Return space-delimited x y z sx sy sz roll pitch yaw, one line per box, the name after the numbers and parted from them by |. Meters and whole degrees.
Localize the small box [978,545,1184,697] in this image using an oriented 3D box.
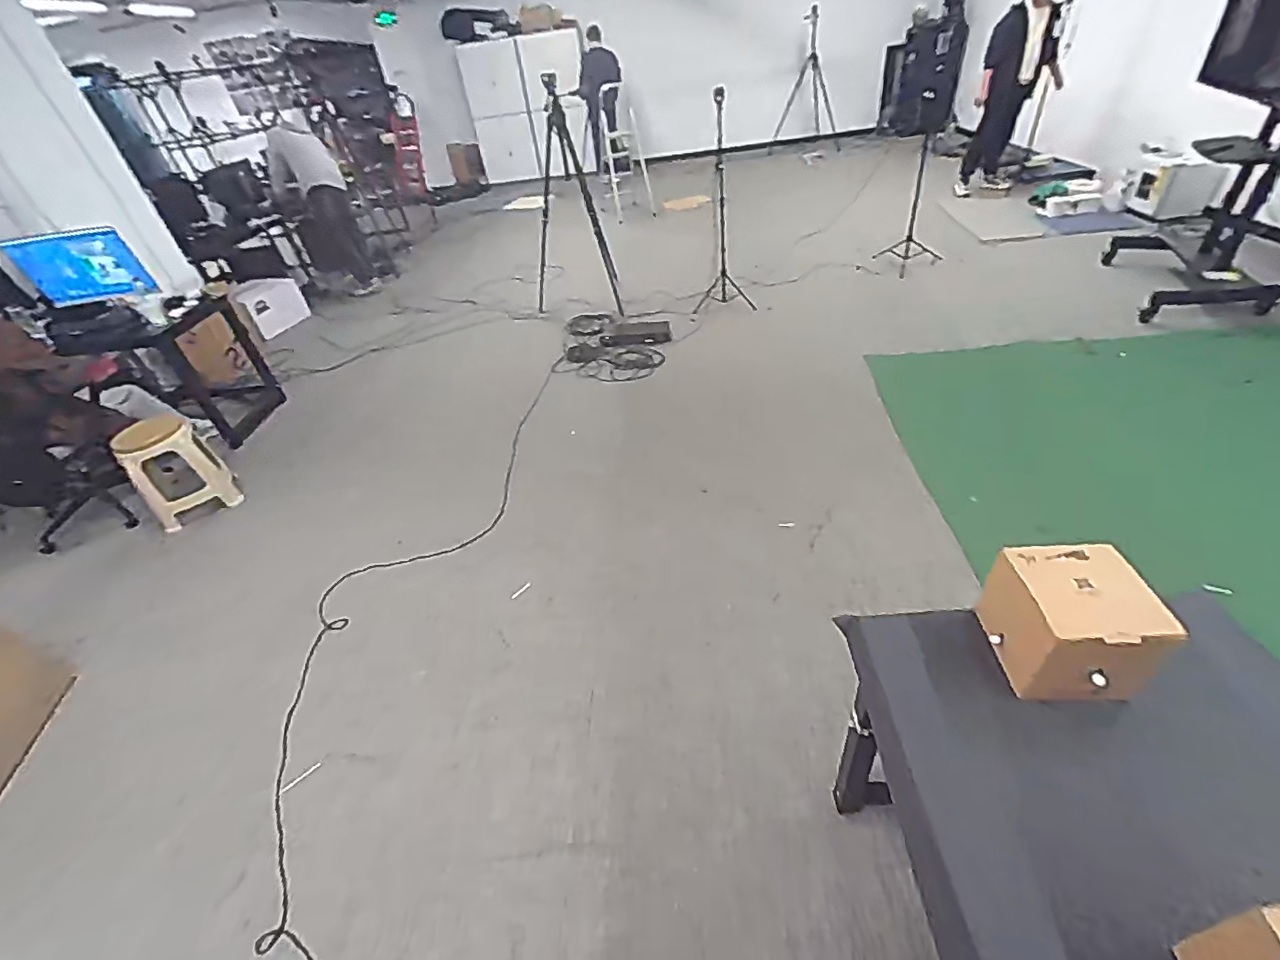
0.669 0.224 0.850 0.168 0.176 0.179 -3 40 7 | small box

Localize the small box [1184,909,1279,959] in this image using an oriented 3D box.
0.670 0.519 0.487 0.168 0.176 0.179 -4 40 7 | small box
